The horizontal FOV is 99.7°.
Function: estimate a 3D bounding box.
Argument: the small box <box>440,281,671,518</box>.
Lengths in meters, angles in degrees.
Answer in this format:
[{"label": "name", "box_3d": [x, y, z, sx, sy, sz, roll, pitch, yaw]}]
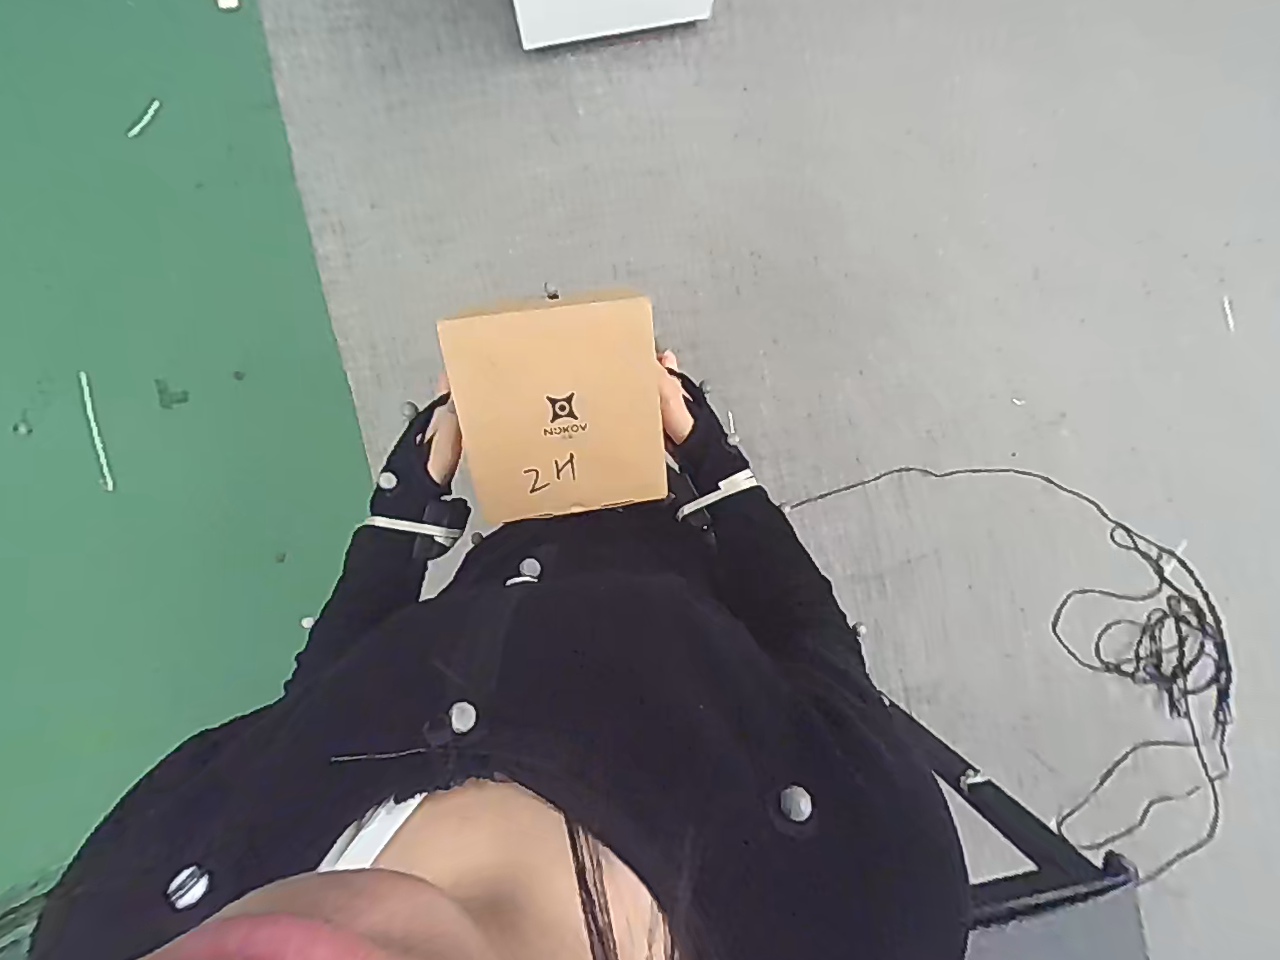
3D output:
[{"label": "small box", "box_3d": [-0.071, -0.085, 0.501, 0.168, 0.176, 0.179, -7, 112, -5]}]
